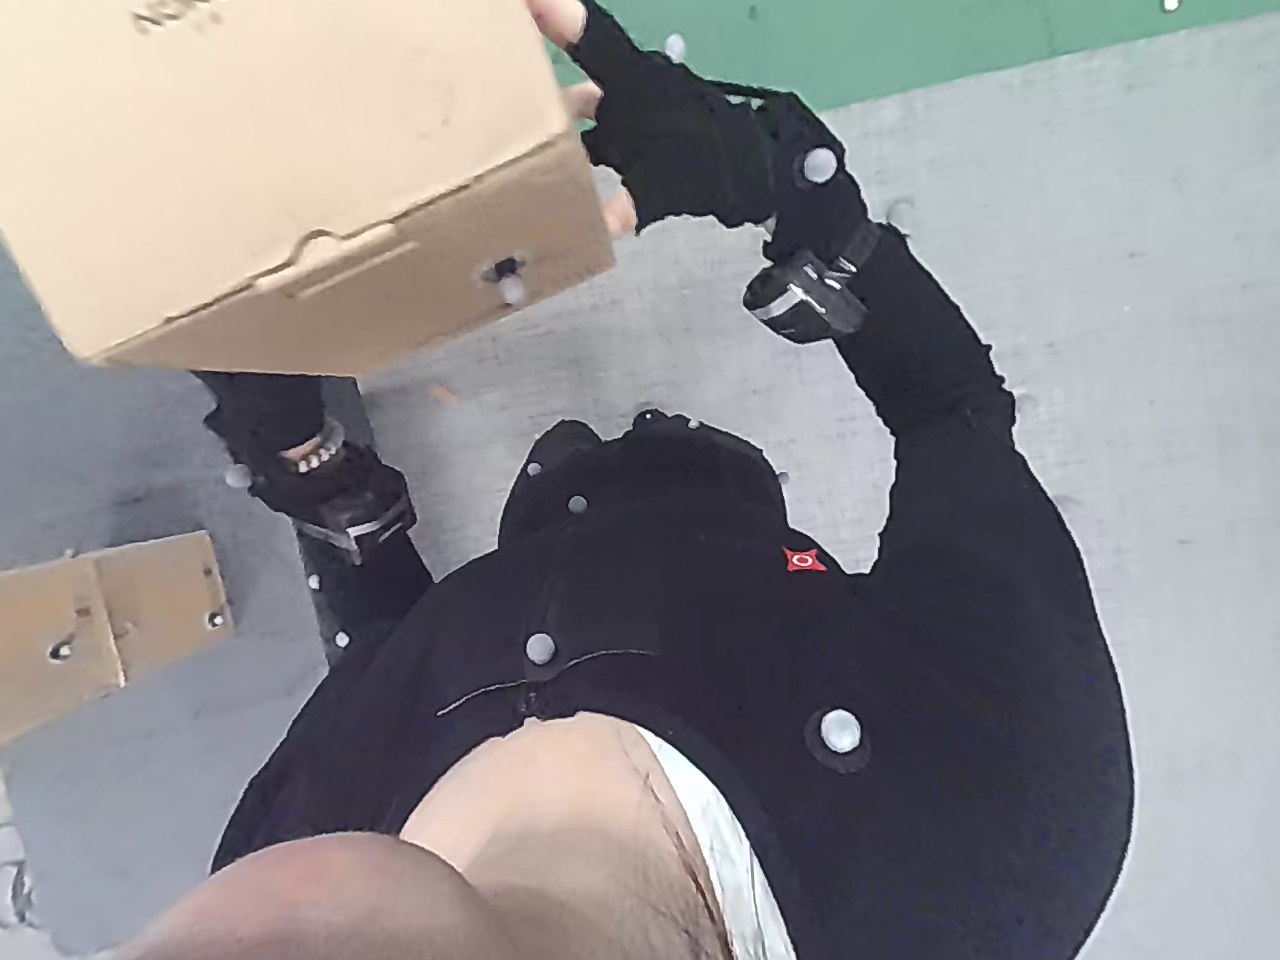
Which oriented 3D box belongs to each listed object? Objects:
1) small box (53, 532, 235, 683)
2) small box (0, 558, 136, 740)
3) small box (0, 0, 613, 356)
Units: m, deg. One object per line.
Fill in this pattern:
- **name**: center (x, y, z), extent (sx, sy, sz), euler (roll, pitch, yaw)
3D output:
- **small box**: center (-0.715, 0.178, 0.757), extent (0.179, 0.176, 0.168), euler (-11, 95, 7)
- **small box**: center (-0.729, 0.194, 0.597), extent (0.179, 0.176, 0.168), euler (-11, 95, 6)
- **small box**: center (-0.118, -0.164, 0.234), extent (0.168, 0.176, 0.179), euler (-21, 99, 5)
